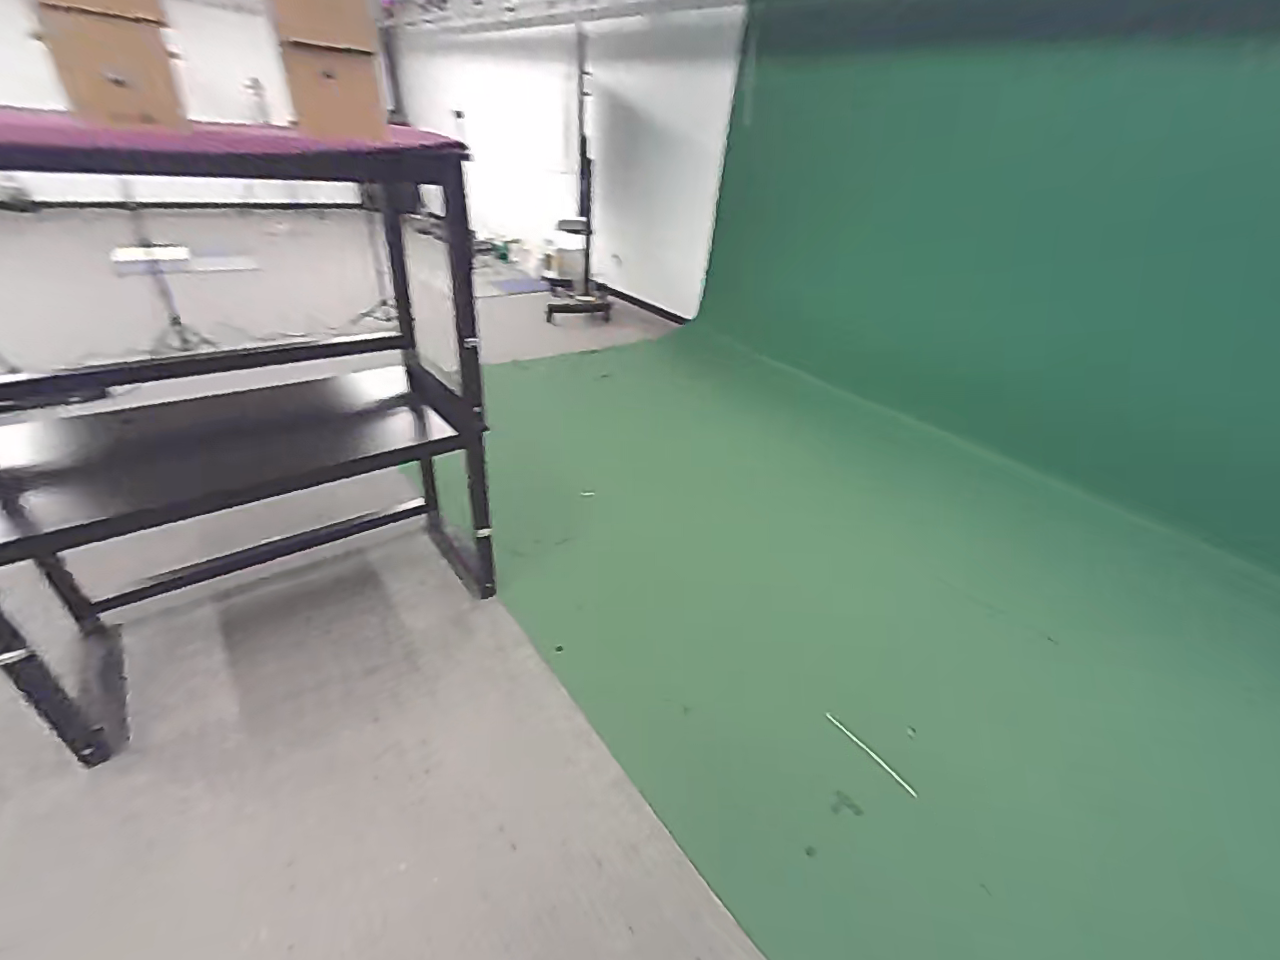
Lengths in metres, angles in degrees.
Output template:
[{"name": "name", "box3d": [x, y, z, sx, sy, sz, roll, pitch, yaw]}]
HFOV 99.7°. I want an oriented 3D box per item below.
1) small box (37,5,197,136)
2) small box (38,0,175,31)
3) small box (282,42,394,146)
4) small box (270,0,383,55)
[{"name": "small box", "box3d": [-0.937, -0.735, 0.986, 0.168, 0.176, 0.179, -17, 39, -33]}, {"name": "small box", "box3d": [-0.906, -0.868, 0.897, 0.179, 0.176, 0.168, -18, 39, -32]}, {"name": "small box", "box3d": [-0.670, -0.849, 1.205, 0.179, 0.176, 0.168, -16, 37, -29]}, {"name": "small box", "box3d": [-0.652, -0.979, 1.108, 0.179, 0.176, 0.168, -19, 39, -32]}]
